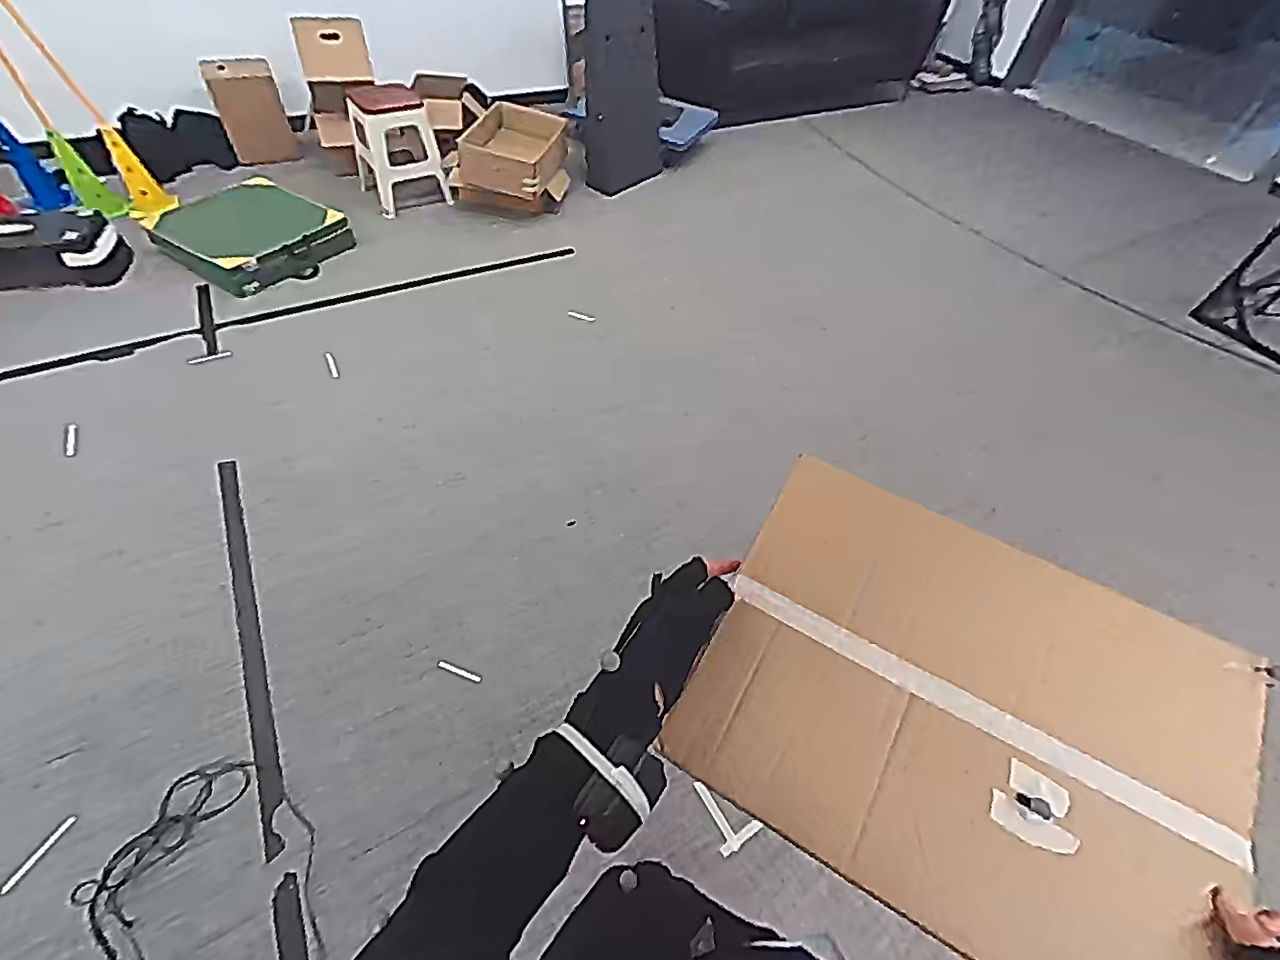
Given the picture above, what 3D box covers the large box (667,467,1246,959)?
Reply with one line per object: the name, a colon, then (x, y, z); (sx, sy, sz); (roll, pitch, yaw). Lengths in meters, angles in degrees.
large box: (0.273, 0.251, 0.588); (0.408, 0.320, 0.320); (27, 70, 16)
